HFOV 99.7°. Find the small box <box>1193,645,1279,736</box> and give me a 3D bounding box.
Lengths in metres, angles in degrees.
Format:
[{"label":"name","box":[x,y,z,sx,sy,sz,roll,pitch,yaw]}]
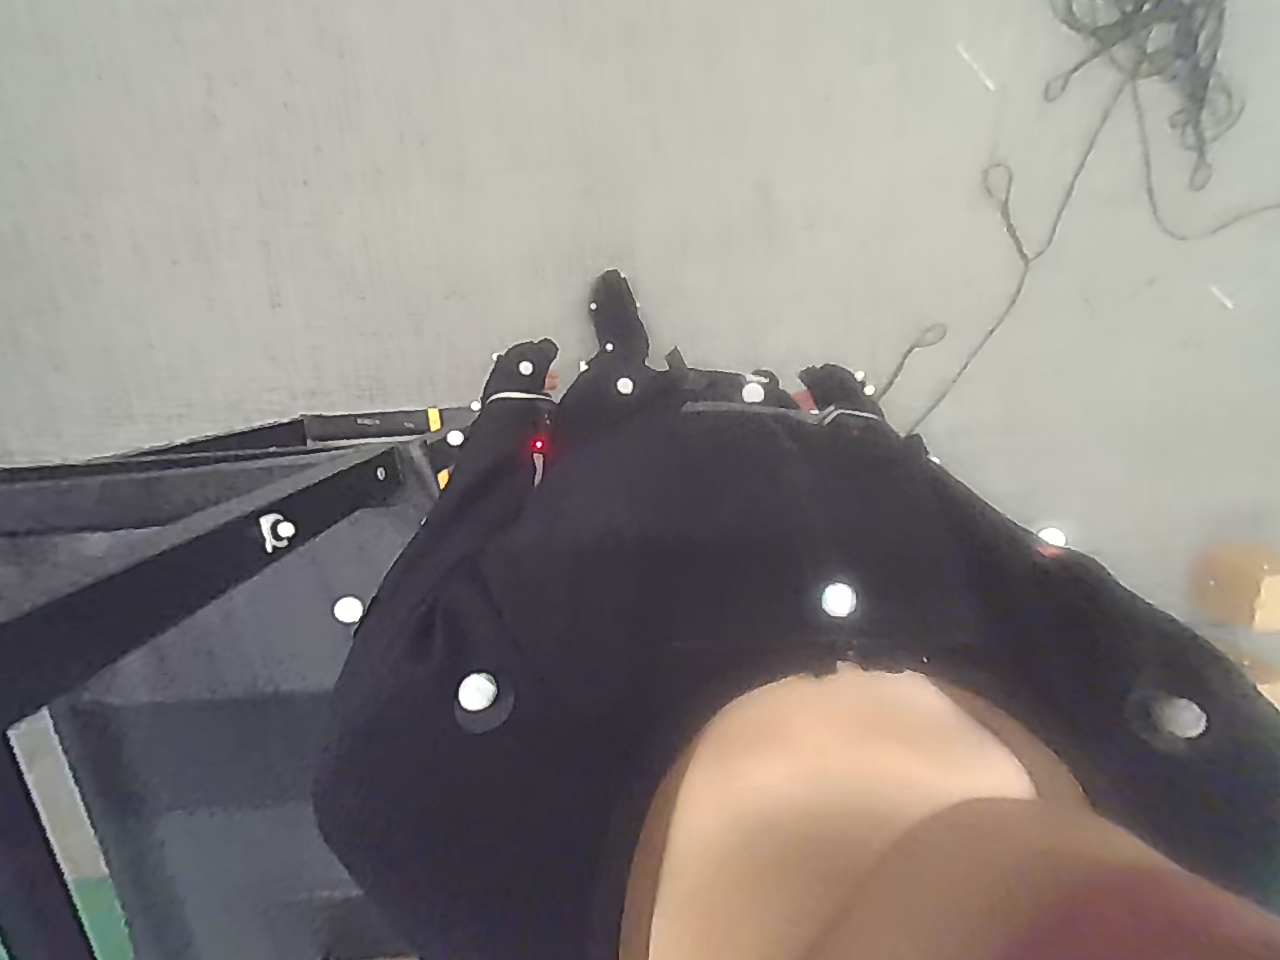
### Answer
[{"label":"small box","box":[1.758,0.601,1.556,0.179,0.176,0.168,-11,104,2]}]
